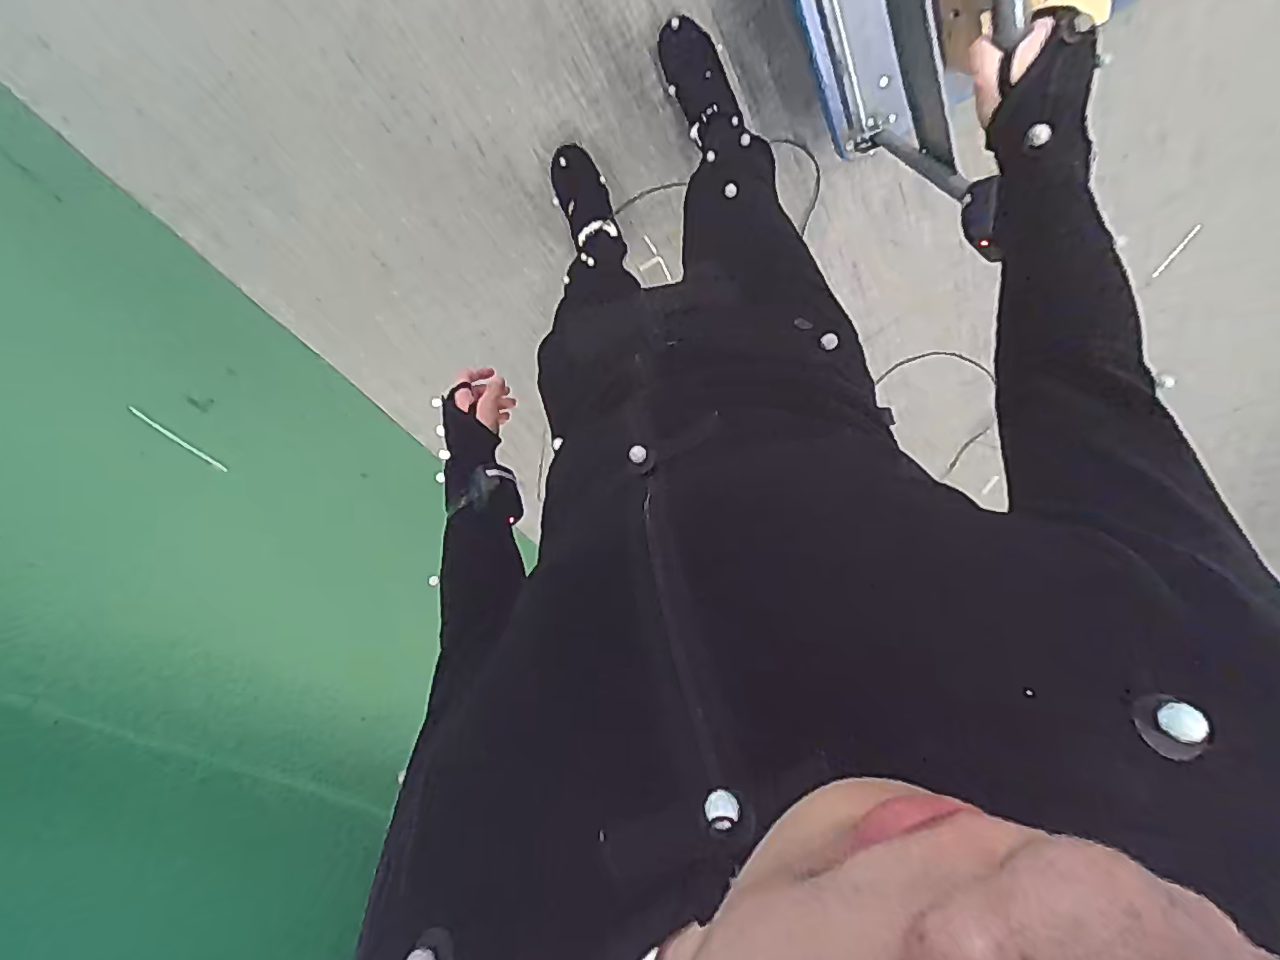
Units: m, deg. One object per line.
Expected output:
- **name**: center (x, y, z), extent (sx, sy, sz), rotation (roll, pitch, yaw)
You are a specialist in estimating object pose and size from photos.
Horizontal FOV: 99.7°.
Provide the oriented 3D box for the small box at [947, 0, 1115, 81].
- **small box**: center (0.629, -0.801, 0.881), extent (0.179, 0.176, 0.168), rotation (-21, 131, 19)
